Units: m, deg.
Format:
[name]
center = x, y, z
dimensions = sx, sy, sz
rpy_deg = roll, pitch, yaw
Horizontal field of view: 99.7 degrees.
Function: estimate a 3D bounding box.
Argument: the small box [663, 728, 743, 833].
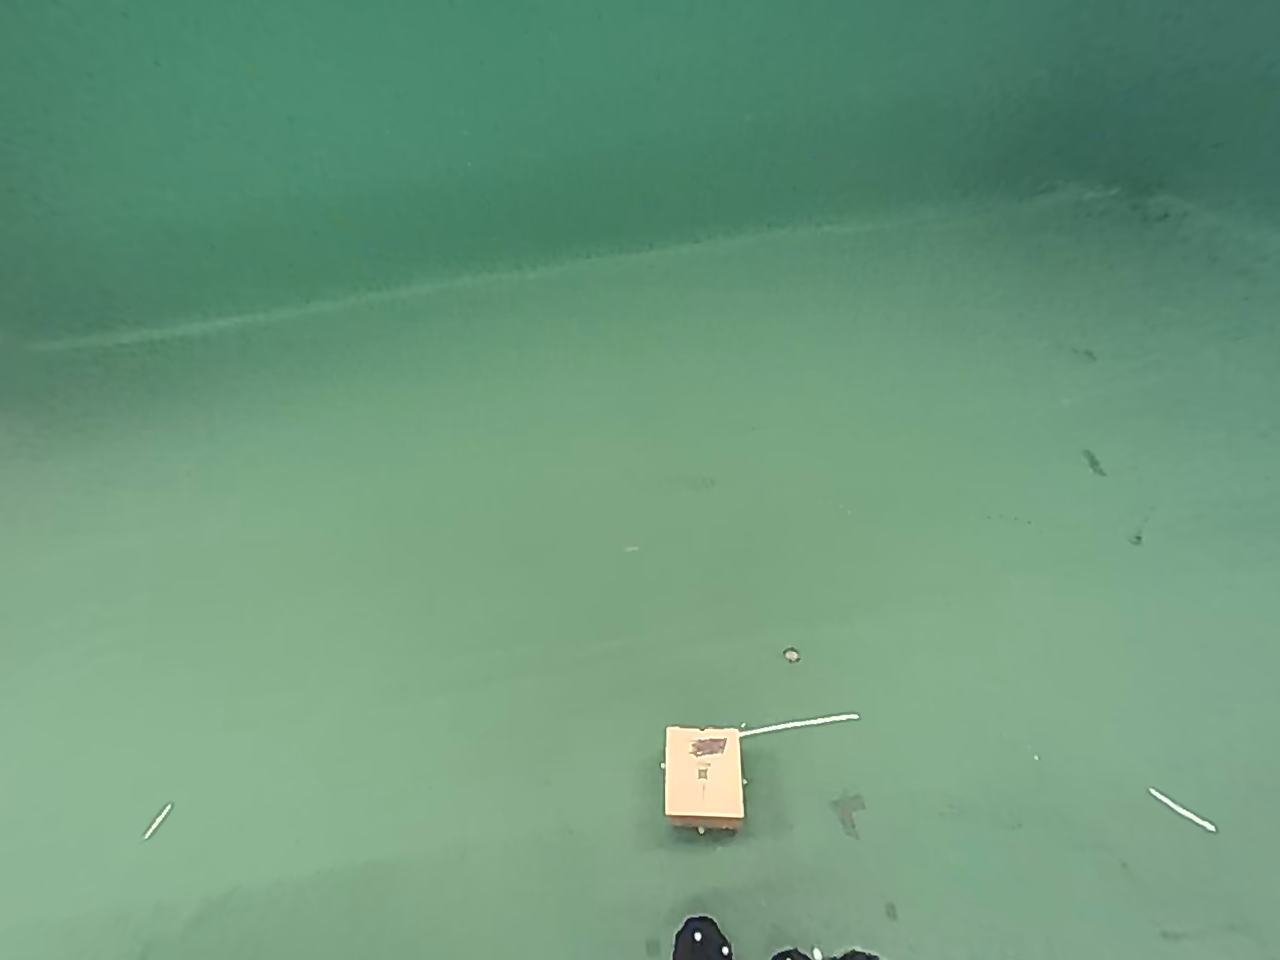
[small box]
center = 0.139, 0.679, 1.220
dimensions = 0.168, 0.176, 0.179
rpy_deg = -1, 51, 6
